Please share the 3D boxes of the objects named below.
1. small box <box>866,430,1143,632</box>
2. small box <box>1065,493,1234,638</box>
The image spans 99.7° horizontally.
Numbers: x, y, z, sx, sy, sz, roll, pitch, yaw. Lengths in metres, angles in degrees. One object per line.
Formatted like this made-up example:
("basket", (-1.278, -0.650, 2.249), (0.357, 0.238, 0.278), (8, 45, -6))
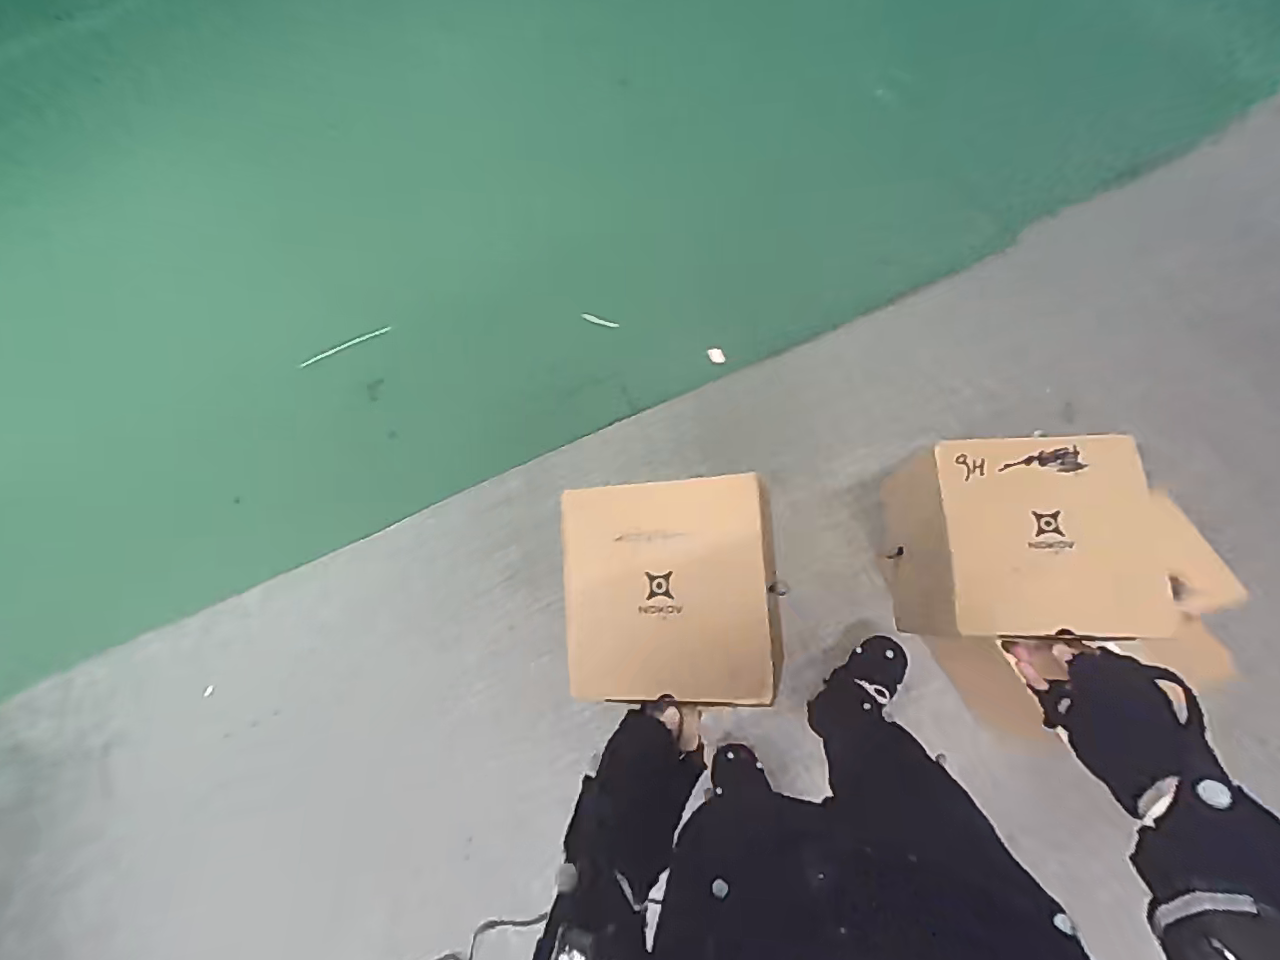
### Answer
("small box", (0.343, 0.059, 0.550), (0.168, 0.176, 0.179), (-2, 77, 6))
("small box", (0.747, 0.145, 0.864), (0.168, 0.176, 0.179), (-19, 69, 5))
